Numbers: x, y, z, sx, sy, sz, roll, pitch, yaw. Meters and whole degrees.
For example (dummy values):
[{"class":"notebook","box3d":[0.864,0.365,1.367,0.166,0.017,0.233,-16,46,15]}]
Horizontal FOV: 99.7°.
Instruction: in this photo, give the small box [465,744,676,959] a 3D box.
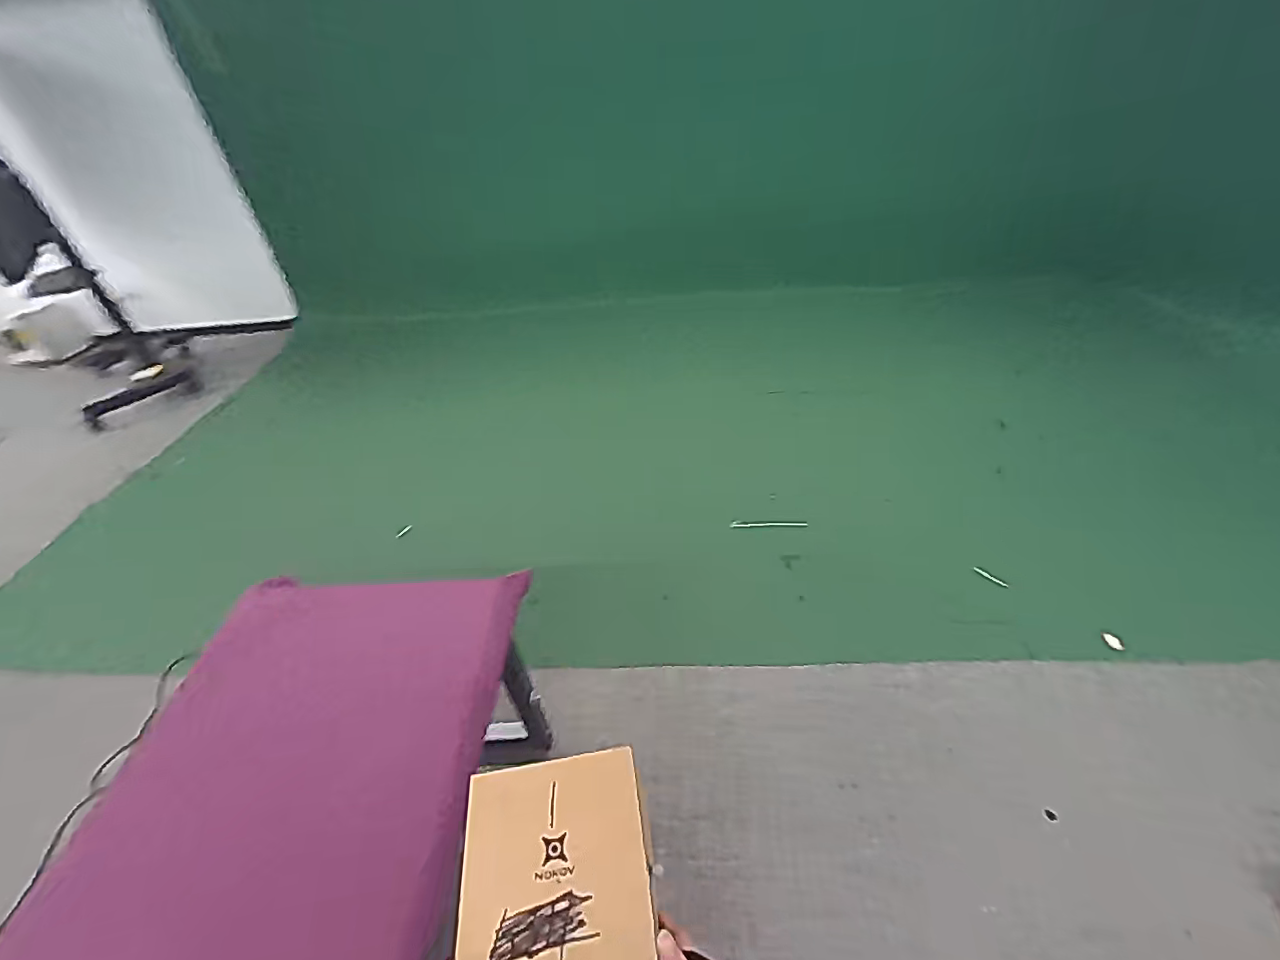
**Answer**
[{"class":"small box","box3d":[-0.060,0.394,0.537,0.168,0.176,0.179,-9,42,-2]}]
